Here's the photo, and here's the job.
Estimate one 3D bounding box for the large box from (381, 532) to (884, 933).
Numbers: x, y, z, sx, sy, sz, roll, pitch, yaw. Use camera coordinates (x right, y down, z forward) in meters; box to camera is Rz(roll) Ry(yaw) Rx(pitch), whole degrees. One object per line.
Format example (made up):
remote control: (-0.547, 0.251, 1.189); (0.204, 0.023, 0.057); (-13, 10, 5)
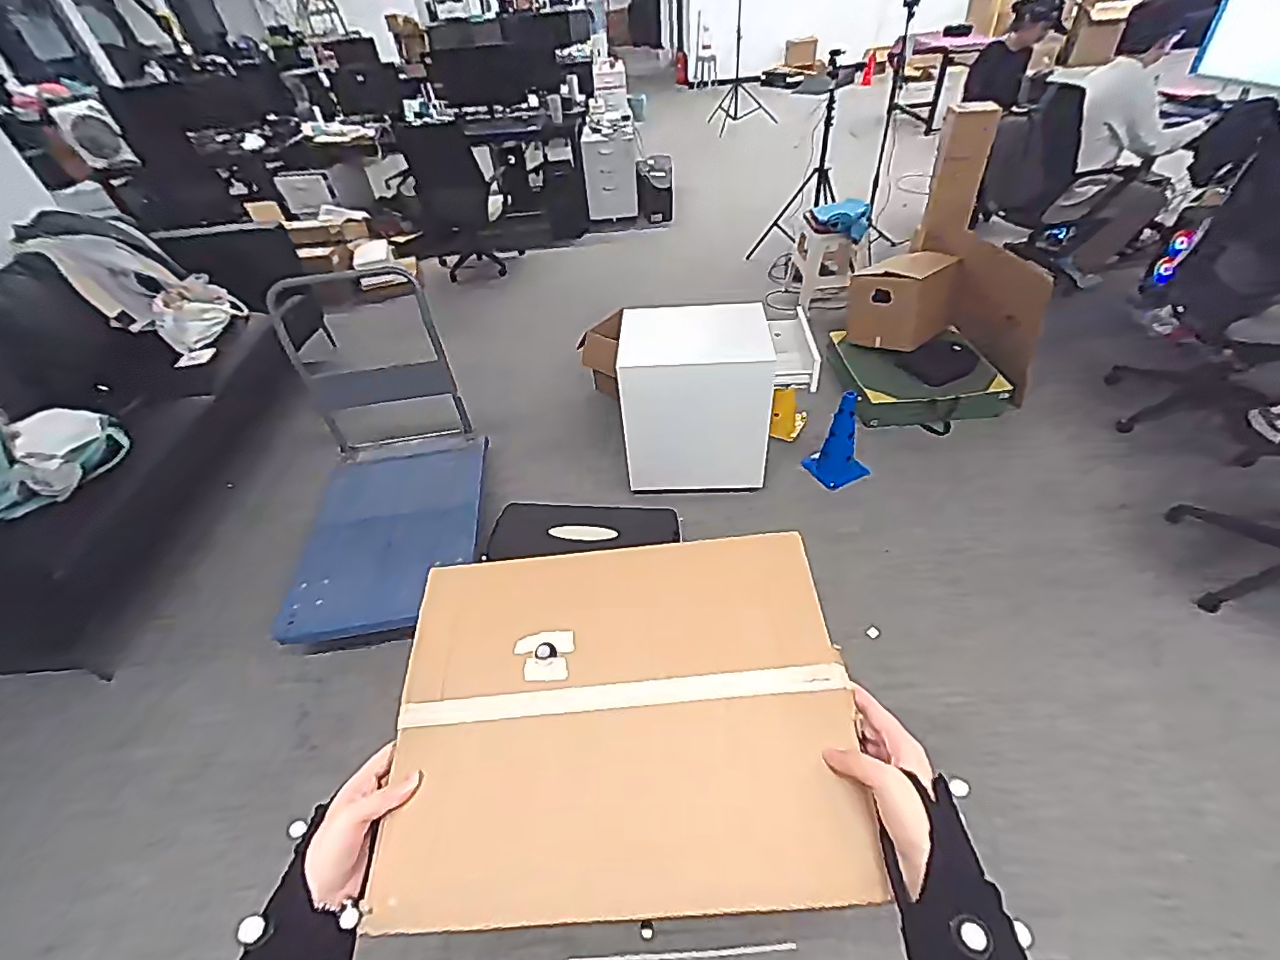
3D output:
large box: (-0.001, 0.292, 0.622); (0.408, 0.320, 0.320); (-8, 52, 4)
